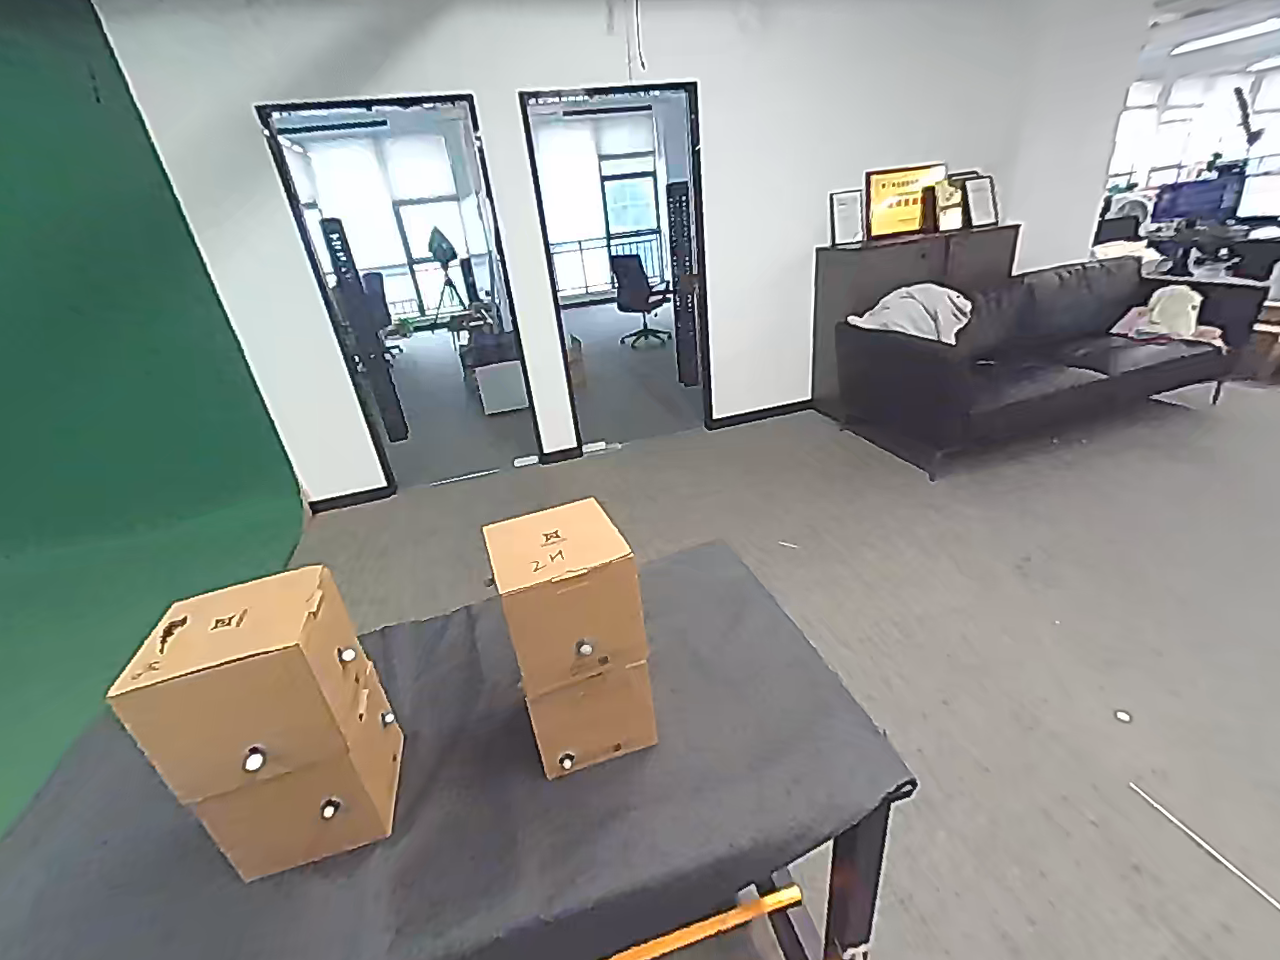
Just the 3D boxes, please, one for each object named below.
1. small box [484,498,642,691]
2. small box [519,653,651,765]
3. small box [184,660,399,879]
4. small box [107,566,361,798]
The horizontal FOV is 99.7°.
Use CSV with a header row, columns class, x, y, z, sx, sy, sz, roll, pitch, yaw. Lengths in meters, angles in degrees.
class,x,y,z,sx,sy,sz,roll,pitch,yaw
small box,-0.106,0.149,0.741,0.168,0.176,0.179,-15,27,-17
small box,-0.087,0.296,0.815,0.168,0.176,0.179,-12,25,-12
small box,-0.440,0.379,0.724,0.179,0.176,0.168,-13,25,-12
small box,-0.455,0.233,0.649,0.179,0.176,0.168,-13,25,-15
